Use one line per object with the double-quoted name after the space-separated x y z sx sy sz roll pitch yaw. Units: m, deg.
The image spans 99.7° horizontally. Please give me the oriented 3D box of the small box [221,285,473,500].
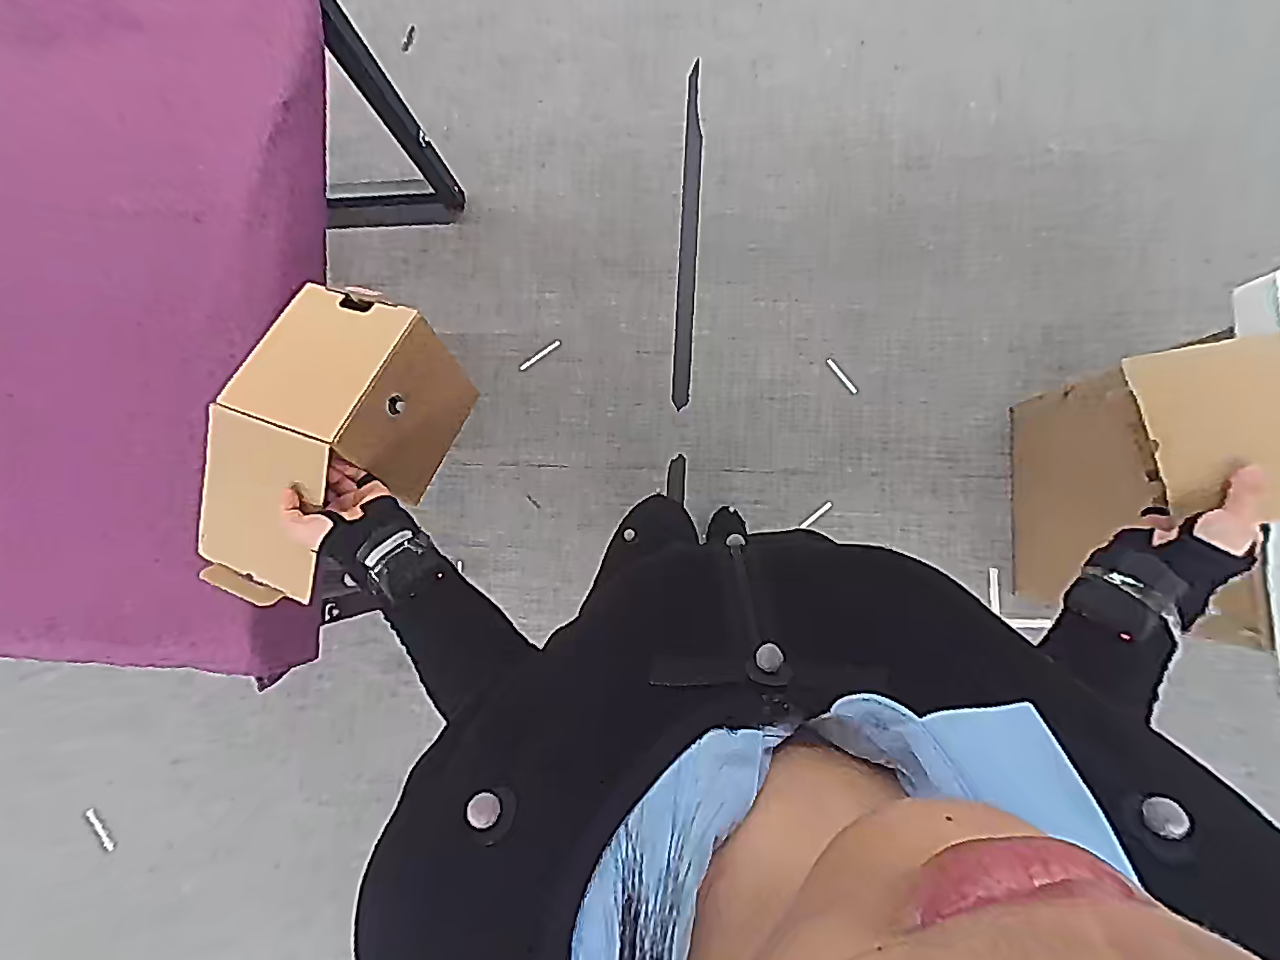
-0.332 -0.097 0.654 0.168 0.176 0.179 18 69 16 "small box"
